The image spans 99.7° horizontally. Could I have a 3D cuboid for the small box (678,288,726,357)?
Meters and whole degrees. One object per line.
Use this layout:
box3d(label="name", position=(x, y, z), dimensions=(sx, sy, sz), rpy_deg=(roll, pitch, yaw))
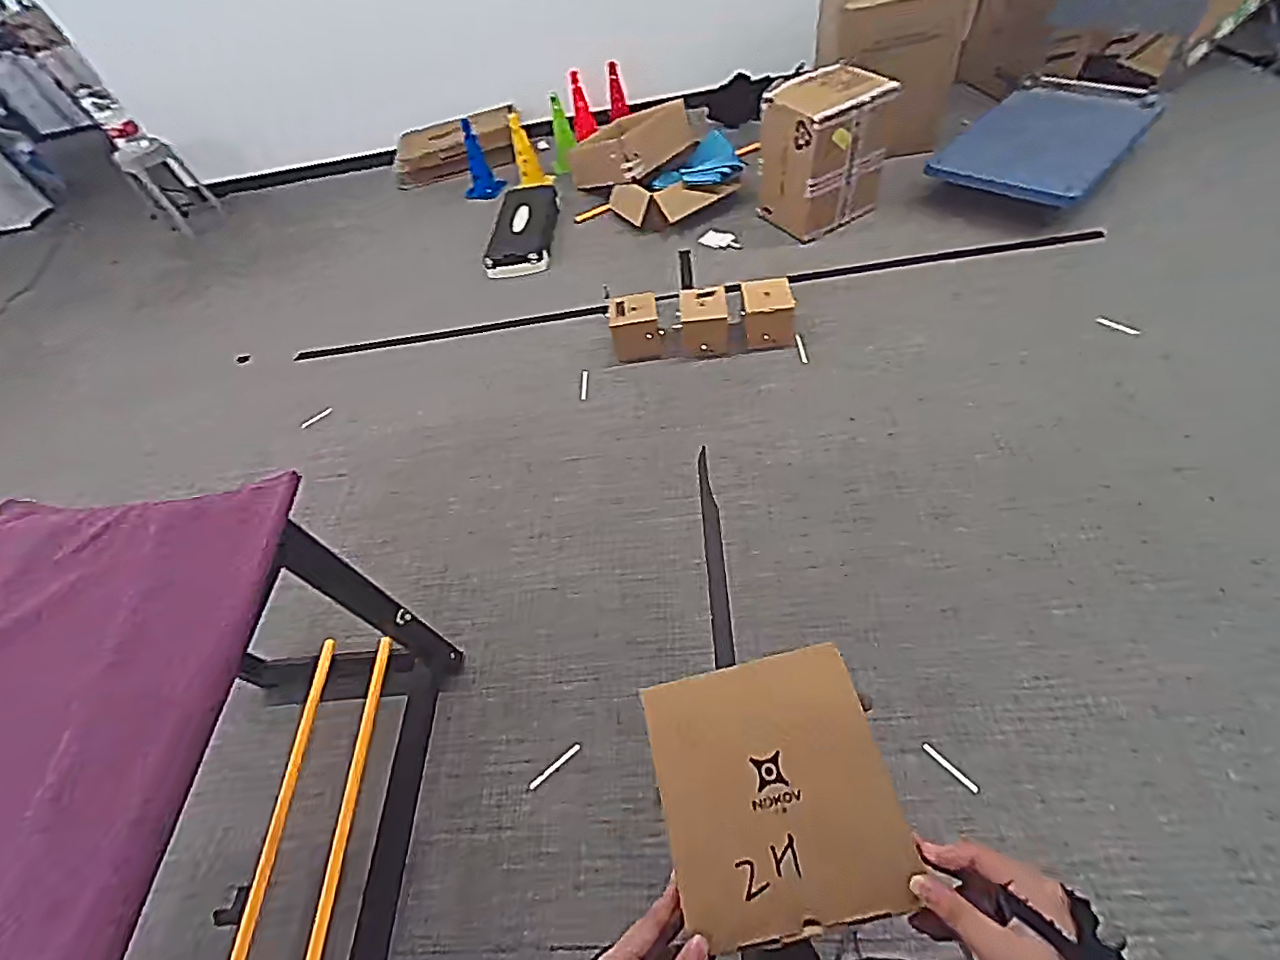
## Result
box3d(label="small box", position=(0.227, -0.577, 1.986), dimensions=(0.168, 0.176, 0.179), rpy_deg=(-4, 54, 7))

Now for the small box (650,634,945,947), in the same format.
box3d(label="small box", position=(0.114, 0.252, 0.456), dimensions=(0.168, 0.176, 0.179), rpy_deg=(-15, 58, 4))

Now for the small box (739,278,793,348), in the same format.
box3d(label="small box", position=(0.452, -0.604, 1.968), dimensions=(0.168, 0.176, 0.179), rpy_deg=(-6, 54, 6))
